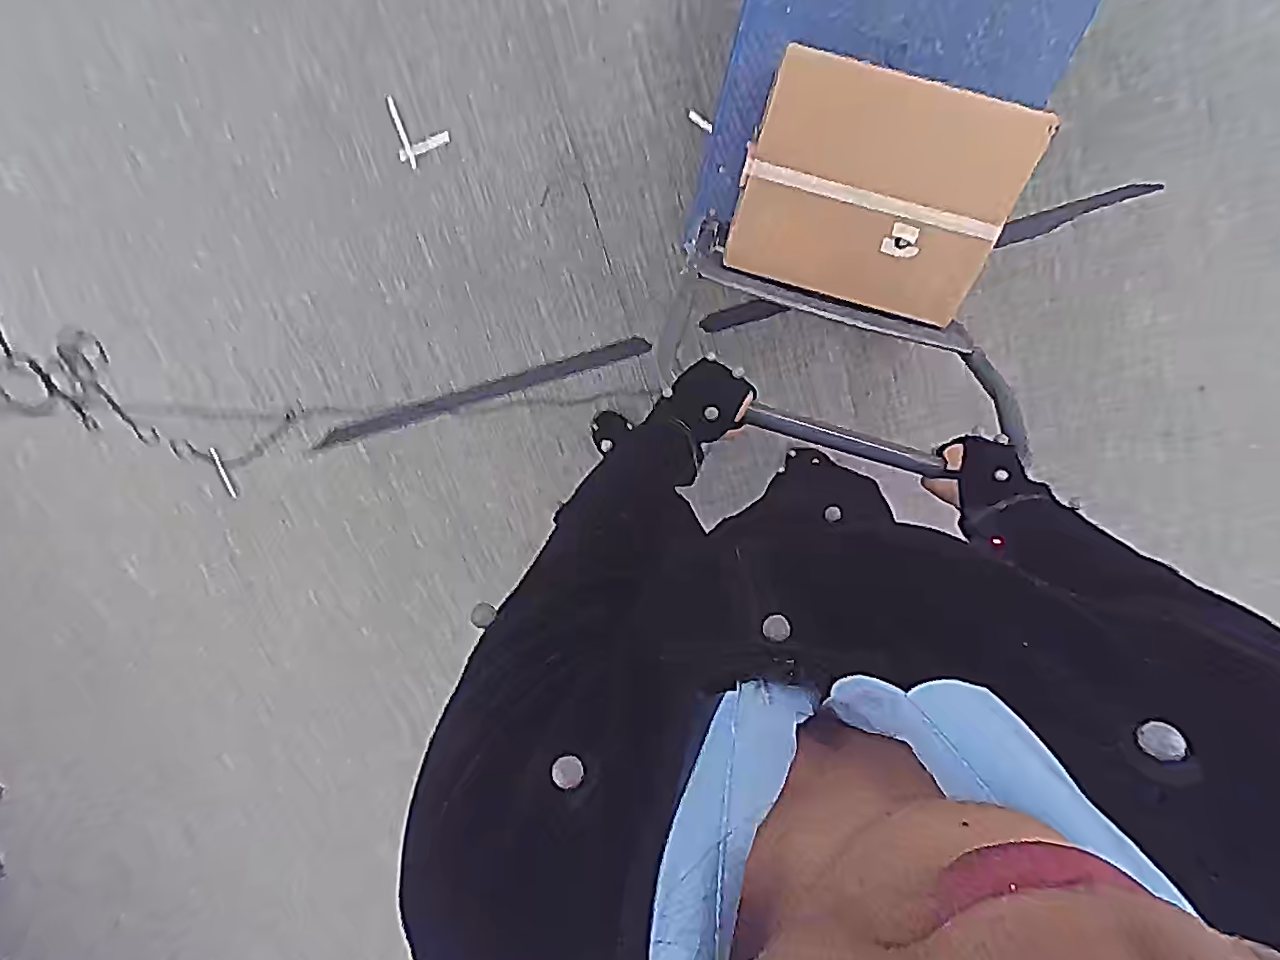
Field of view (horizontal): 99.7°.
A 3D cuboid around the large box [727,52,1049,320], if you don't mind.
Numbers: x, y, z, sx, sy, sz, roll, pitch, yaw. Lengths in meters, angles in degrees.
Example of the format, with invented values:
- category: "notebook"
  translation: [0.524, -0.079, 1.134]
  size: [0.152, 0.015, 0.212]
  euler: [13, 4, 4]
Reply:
- category: "large box"
  translation: [0.394, -0.530, 0.992]
  size: [0.408, 0.320, 0.320]
  euler: [16, 124, 0]
